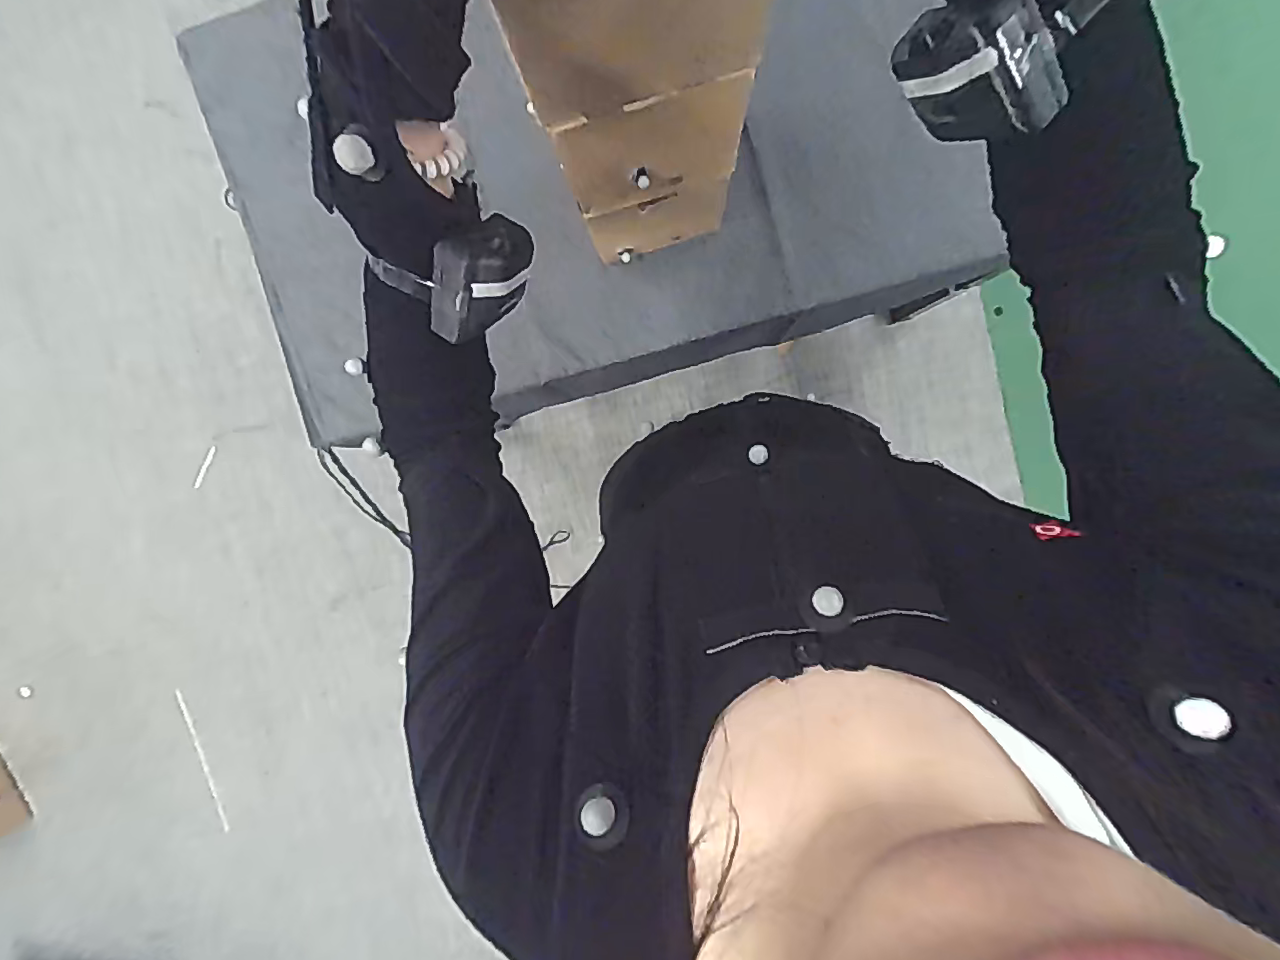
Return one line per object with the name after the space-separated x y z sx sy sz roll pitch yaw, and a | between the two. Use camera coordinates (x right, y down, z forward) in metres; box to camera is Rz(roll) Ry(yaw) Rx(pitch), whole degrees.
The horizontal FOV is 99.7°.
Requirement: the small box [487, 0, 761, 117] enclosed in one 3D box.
-0.018 -0.369 0.332 0.179 0.176 0.168 -13 94 5 | small box

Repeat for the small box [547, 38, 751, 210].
-0.009 -0.386 0.496 0.168 0.176 0.179 -15 94 5 | small box

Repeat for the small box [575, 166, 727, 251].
0.002 -0.400 0.657 0.168 0.176 0.179 -15 93 5 | small box
